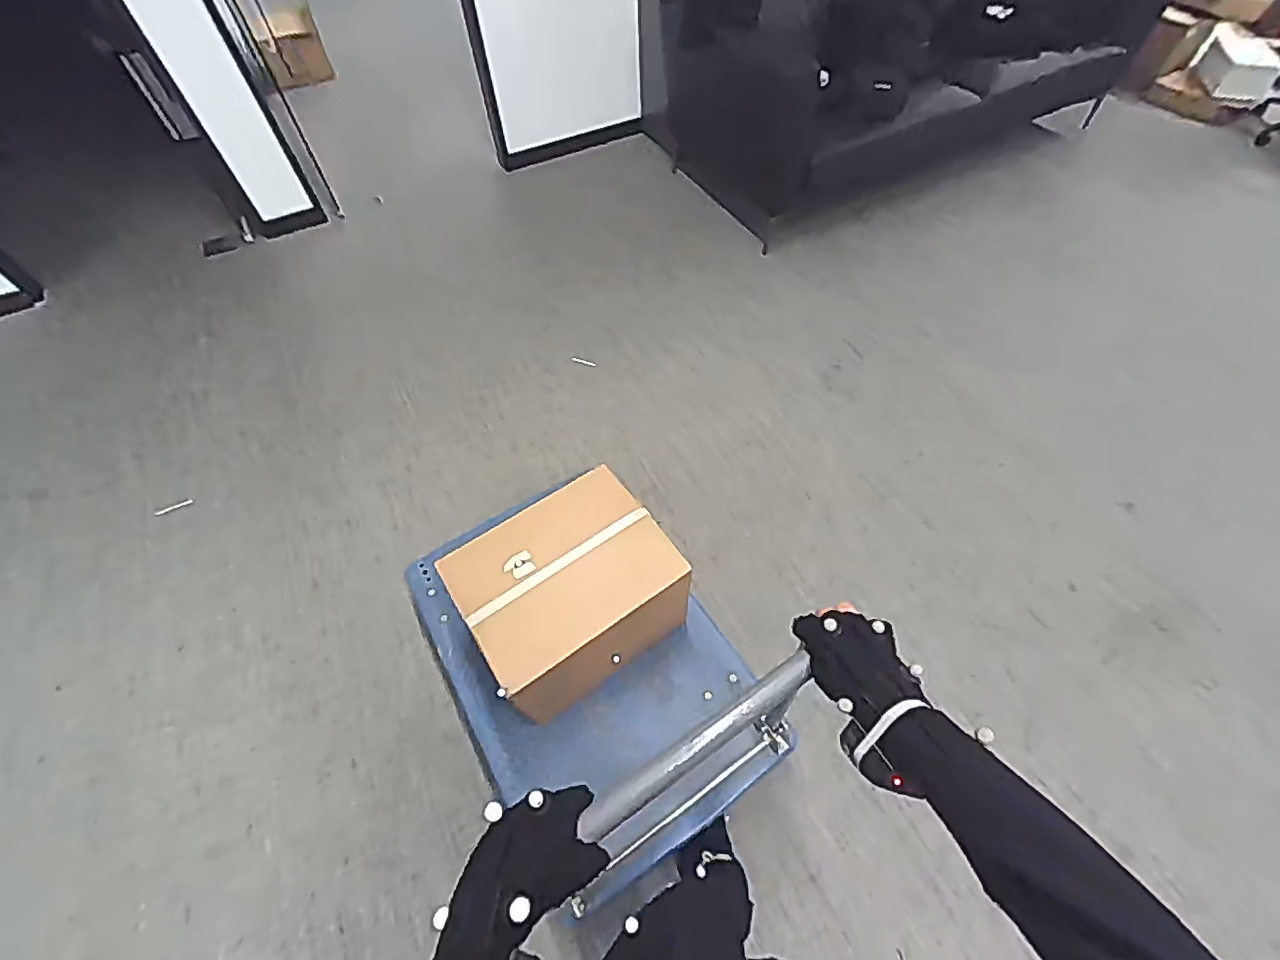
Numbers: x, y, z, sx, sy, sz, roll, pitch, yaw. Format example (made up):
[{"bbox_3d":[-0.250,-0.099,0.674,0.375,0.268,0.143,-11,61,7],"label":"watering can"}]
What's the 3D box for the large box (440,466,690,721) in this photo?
[{"bbox_3d":[-0.142,0.249,1.177,0.408,0.320,0.320,-32,61,-18],"label":"large box"}]
